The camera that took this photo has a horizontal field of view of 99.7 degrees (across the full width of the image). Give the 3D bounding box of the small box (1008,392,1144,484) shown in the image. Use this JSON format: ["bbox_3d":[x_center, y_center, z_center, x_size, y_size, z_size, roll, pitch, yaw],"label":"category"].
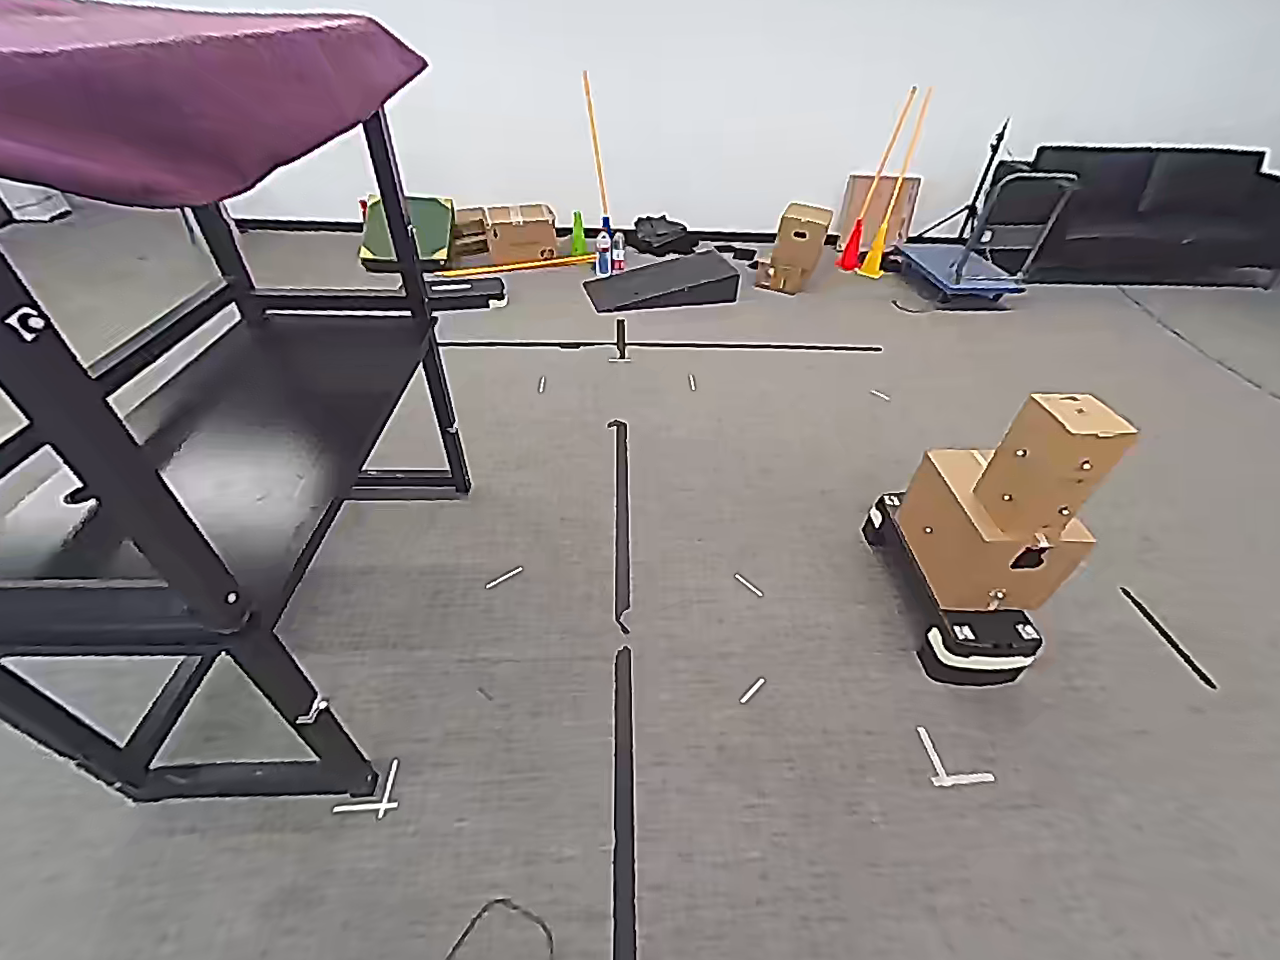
[{"bbox_3d":[1.077,-0.103,1.354,0.168,0.176,0.179,1,42,-3],"label":"small box"}]

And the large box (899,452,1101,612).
[{"bbox_3d":[1.073,0.156,1.678,0.320,0.320,0.408,1,40,-3],"label":"large box"}]

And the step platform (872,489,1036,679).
[{"bbox_3d":[1.038,0.317,1.855,0.286,0.204,0.684,4,40,2],"label":"step platform"}]

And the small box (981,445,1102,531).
[{"bbox_3d":[1.070,0.023,1.458,0.168,0.176,0.179,1,40,-2],"label":"small box"}]
